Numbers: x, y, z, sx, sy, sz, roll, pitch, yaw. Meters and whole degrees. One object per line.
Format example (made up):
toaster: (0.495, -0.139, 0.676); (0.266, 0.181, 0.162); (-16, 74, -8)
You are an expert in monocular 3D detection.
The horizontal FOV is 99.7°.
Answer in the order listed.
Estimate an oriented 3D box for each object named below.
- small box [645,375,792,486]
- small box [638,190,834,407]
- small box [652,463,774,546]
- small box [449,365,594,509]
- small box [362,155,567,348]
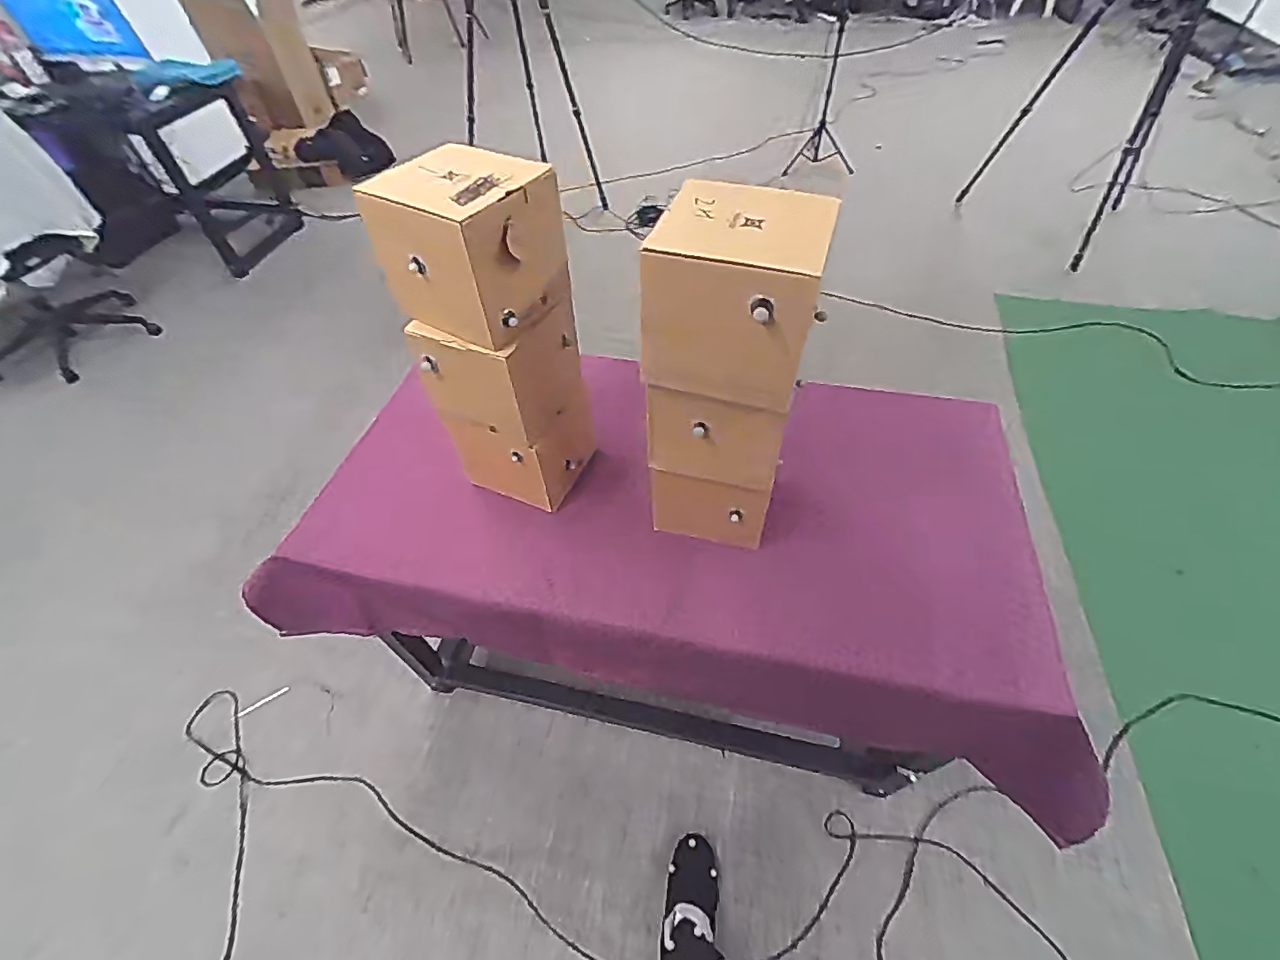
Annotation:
small box: (0.114, -0.111, 0.762); (0.179, 0.176, 0.168); (12, 51, 12)
small box: (0.107, -0.207, 0.626); (0.179, 0.176, 0.168); (14, 51, 14)
small box: (0.123, -0.011, 0.891); (0.179, 0.176, 0.168); (10, 50, 11)
small box: (-0.198, -0.073, 0.957); (0.179, 0.176, 0.168); (18, 53, 16)
small box: (-0.215, -0.299, 0.717); (0.179, 0.176, 0.168); (24, 54, 21)
